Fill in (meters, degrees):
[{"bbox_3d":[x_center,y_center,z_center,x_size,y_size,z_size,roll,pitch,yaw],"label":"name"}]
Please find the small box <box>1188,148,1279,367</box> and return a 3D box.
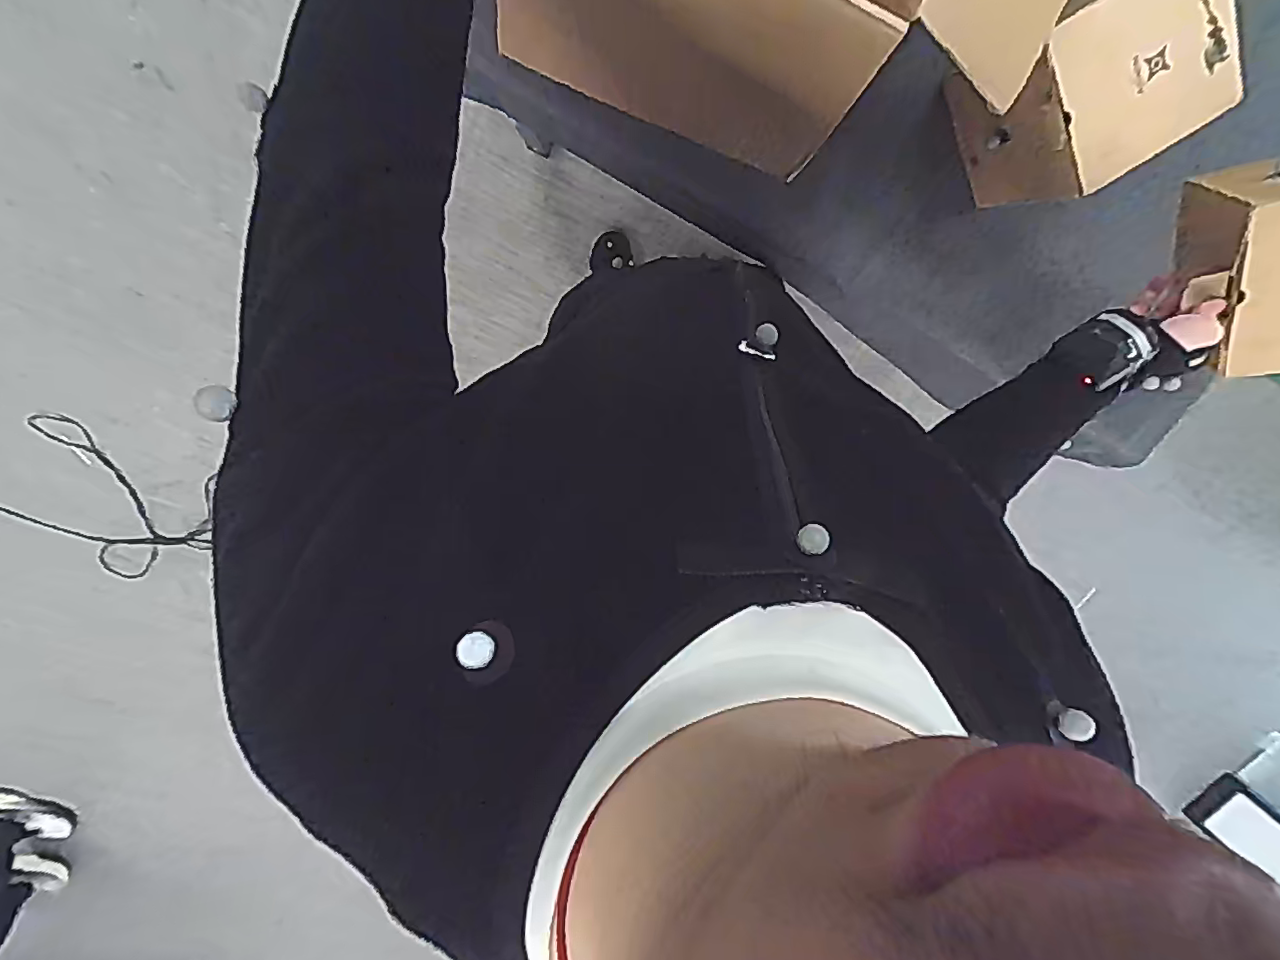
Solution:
[{"bbox_3d":[0.662,-0.225,0.507,0.179,0.176,0.168,-4,121,31],"label":"small box"}]
